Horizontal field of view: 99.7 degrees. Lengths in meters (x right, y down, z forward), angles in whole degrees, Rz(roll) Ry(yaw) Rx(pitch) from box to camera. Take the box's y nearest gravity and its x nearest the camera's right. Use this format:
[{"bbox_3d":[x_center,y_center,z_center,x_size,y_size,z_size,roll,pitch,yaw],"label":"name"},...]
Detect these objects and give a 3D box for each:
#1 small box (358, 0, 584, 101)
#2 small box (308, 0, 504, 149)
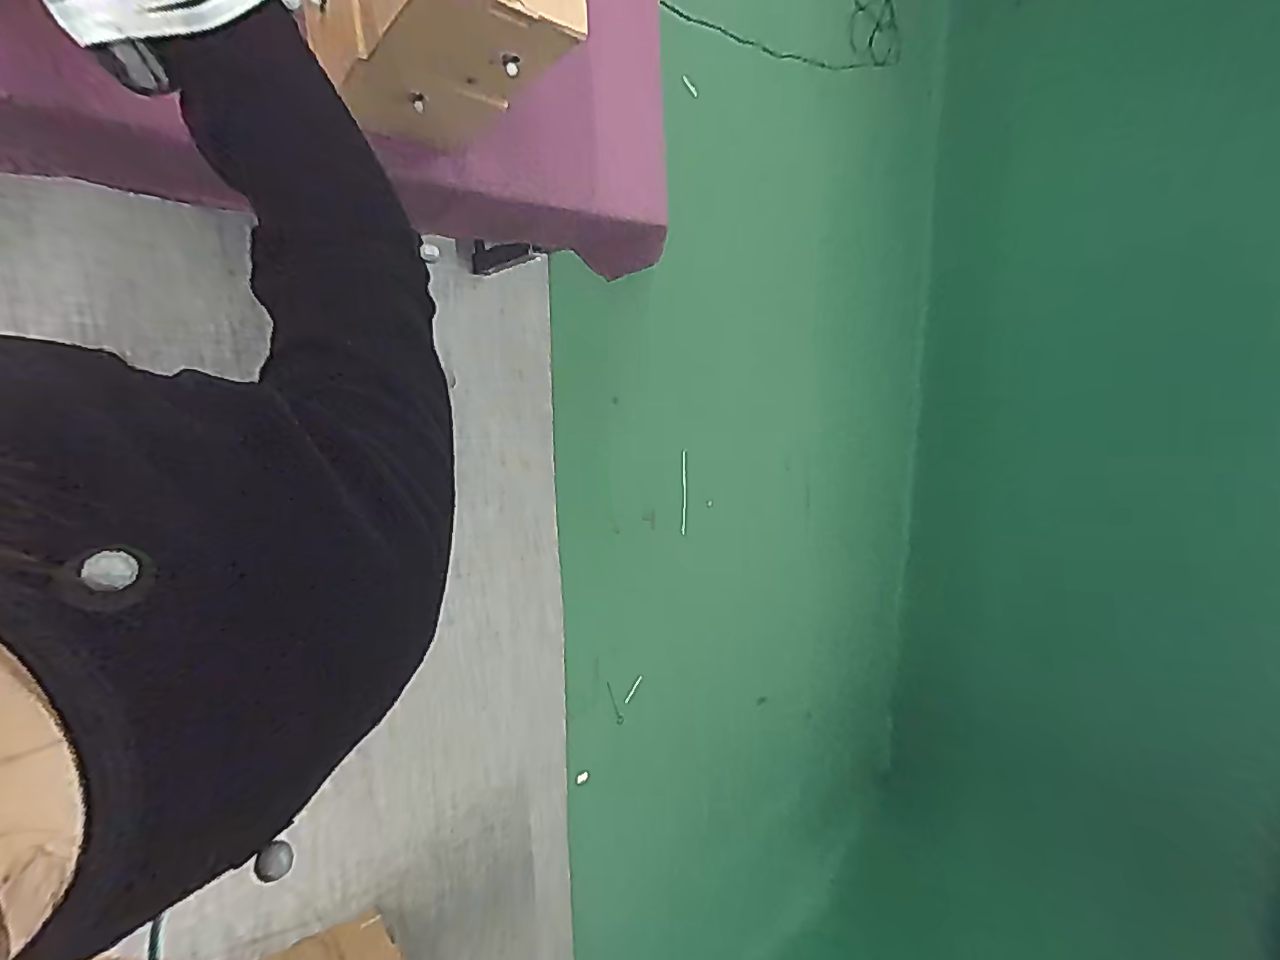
[{"bbox_3d":[-0.176,-0.522,0.542,0.168,0.176,0.179,-14,105,-42],"label":"small box"},{"bbox_3d":[-0.289,-0.534,0.660,0.179,0.176,0.168,-11,105,-42],"label":"small box"}]
